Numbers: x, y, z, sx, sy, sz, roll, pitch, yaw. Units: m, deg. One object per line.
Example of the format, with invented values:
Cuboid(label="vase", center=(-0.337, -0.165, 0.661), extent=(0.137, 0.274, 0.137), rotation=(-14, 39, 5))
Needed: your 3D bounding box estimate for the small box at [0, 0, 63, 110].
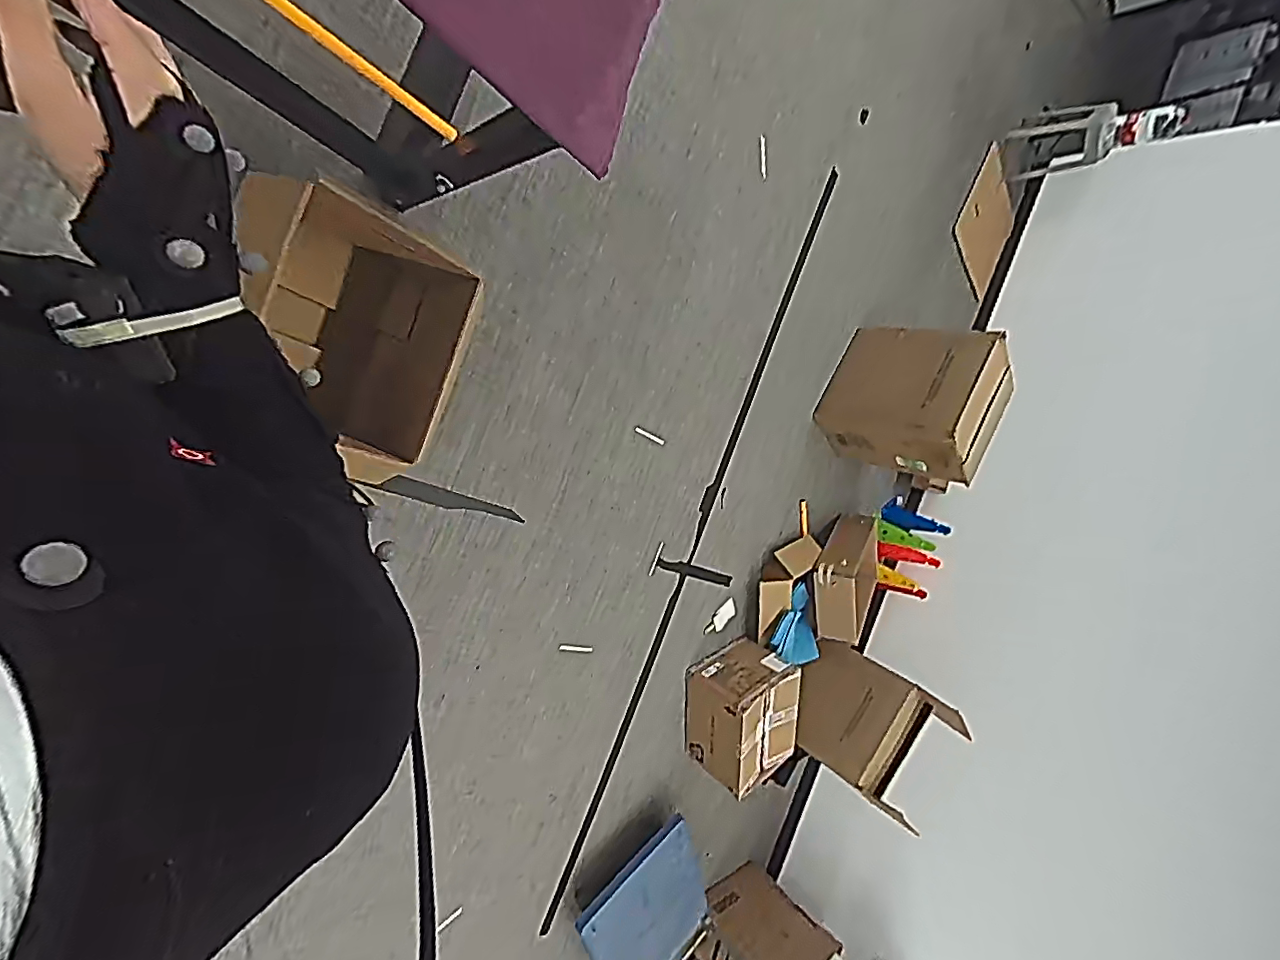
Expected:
Cuboid(label="small box", center=(-0.386, -0.308, 0.235), extent=(0.168, 0.176, 0.179), rotation=(-9, 105, -48))
